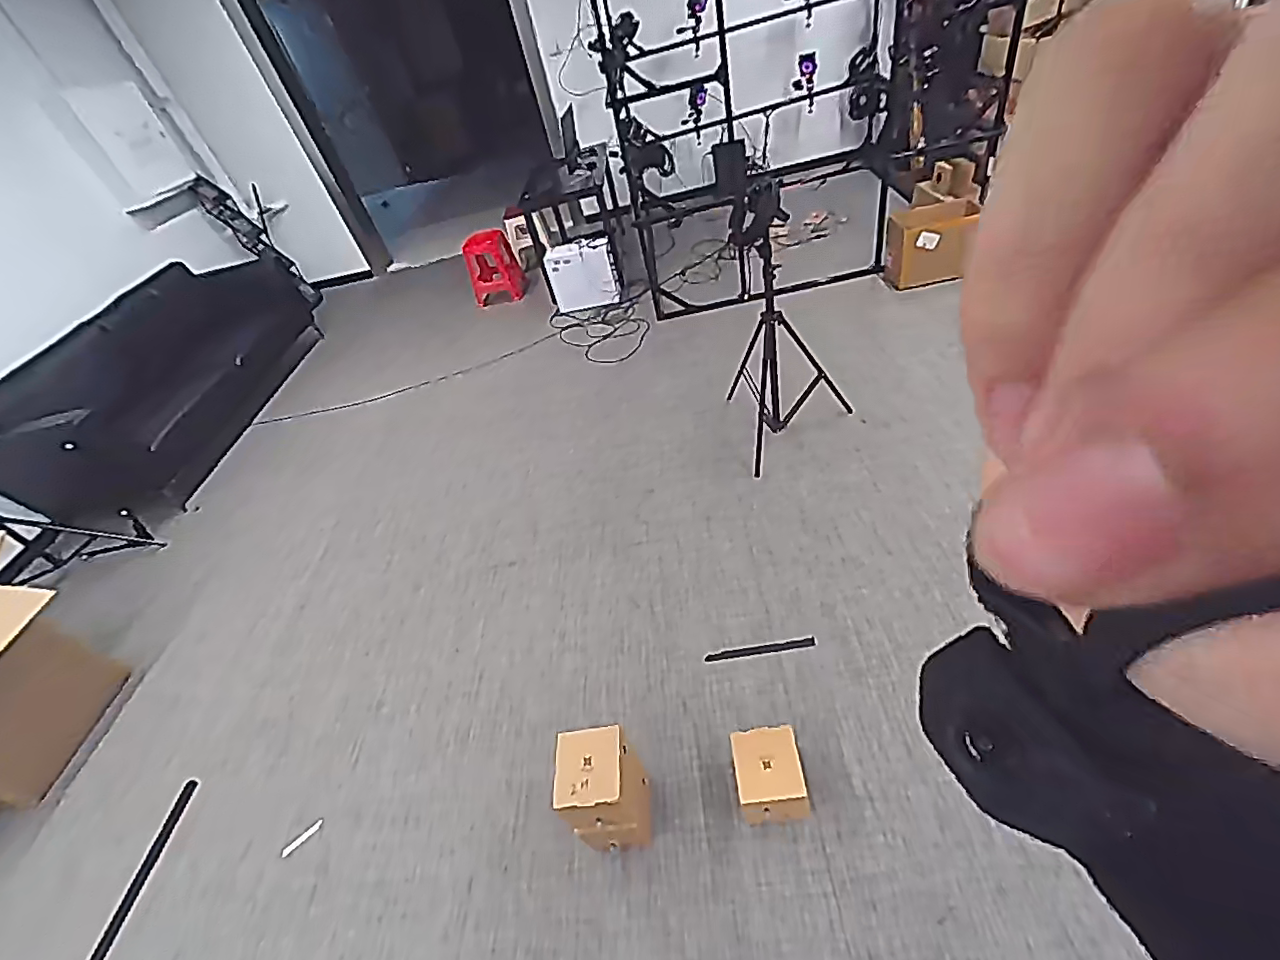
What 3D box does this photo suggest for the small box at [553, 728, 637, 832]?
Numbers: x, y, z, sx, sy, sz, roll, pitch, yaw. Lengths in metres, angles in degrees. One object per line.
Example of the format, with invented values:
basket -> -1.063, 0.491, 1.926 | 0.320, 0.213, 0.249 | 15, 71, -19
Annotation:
small box -> -0.105, 0.748, 1.348 | 0.168, 0.176, 0.179 | -12, 42, 8

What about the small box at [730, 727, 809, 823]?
small box -> 0.340, 0.779, 1.417 | 0.168, 0.176, 0.179 | -11, 41, 6

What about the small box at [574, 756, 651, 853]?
small box -> -0.068, 0.871, 1.450 | 0.168, 0.176, 0.179 | -12, 42, 8
